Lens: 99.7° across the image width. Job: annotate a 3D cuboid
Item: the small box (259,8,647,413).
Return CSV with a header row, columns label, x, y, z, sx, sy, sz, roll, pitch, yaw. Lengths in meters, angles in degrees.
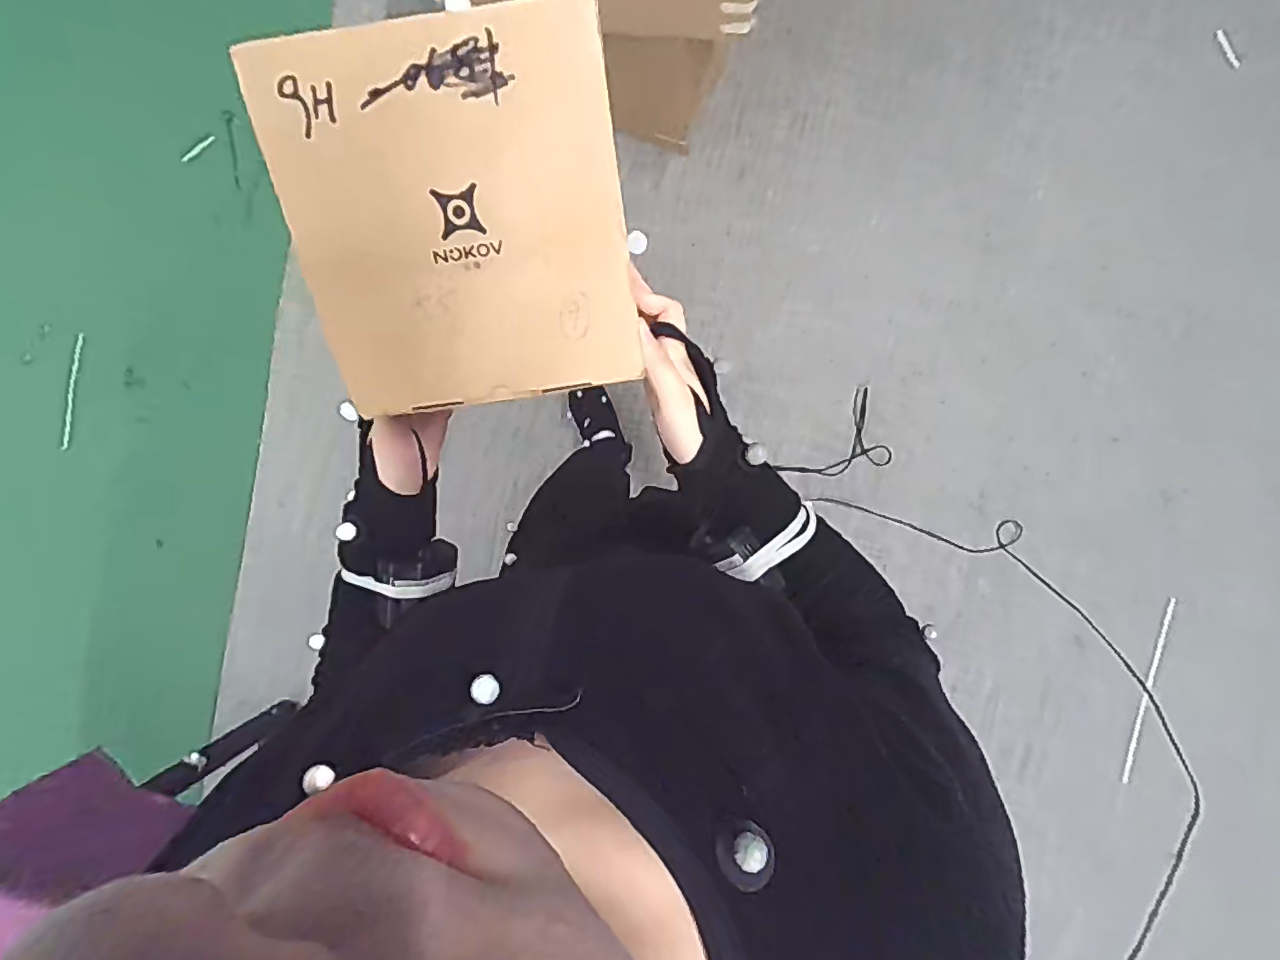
label,x,y,z,sx,sy,sz,roll,pitch,yaw
small box,-0.087,-0.158,0.352,0.168,0.176,0.179,-8,114,0
